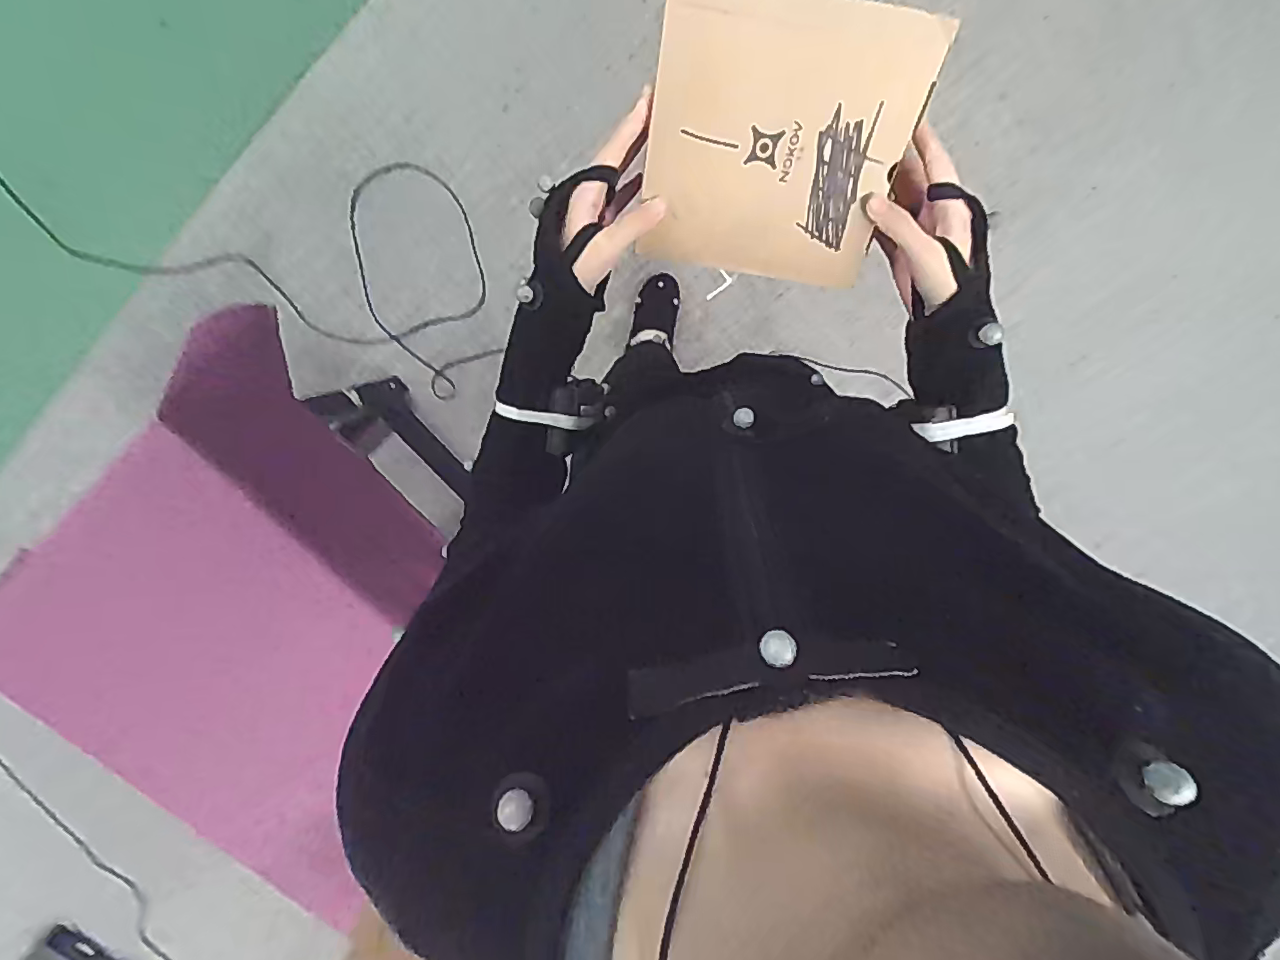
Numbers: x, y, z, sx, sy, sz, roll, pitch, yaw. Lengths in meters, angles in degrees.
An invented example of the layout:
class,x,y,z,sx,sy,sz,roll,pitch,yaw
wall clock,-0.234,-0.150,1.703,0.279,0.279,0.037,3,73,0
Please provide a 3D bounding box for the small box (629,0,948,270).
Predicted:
class,x,y,z,sx,sy,sz,roll,pitch,yaw
small box,0.094,-0.289,0.430,0.179,0.176,0.168,9,129,-2
